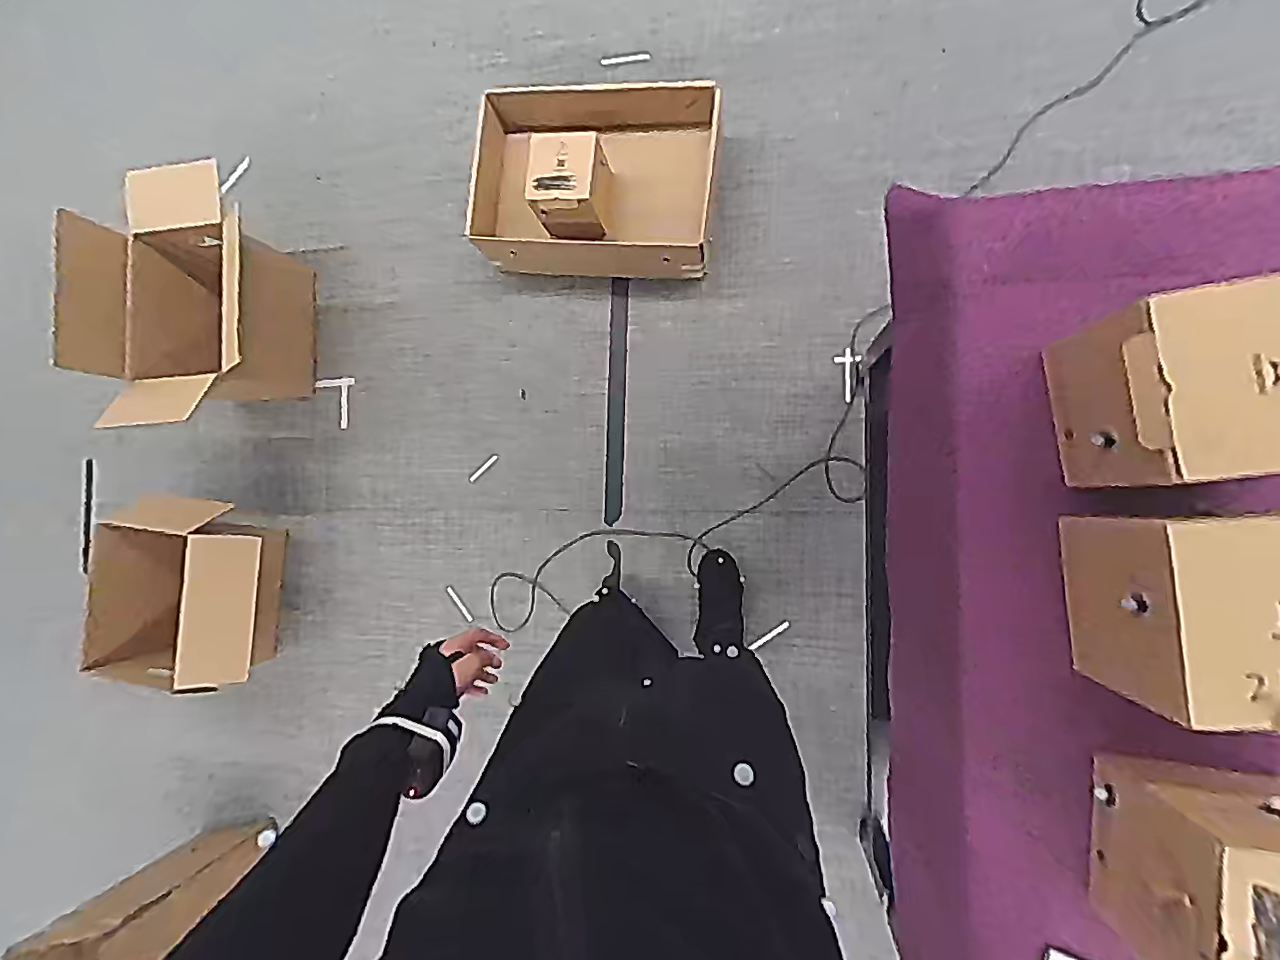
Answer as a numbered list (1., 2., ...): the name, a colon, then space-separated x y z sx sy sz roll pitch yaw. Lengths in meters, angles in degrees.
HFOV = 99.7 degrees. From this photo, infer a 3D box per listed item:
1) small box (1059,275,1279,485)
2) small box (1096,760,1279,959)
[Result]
1. small box: 0.548 -0.086 0.527 0.179 0.176 0.168 -7 87 11
2. small box: 0.571 0.387 0.502 0.179 0.176 0.168 4 89 11
